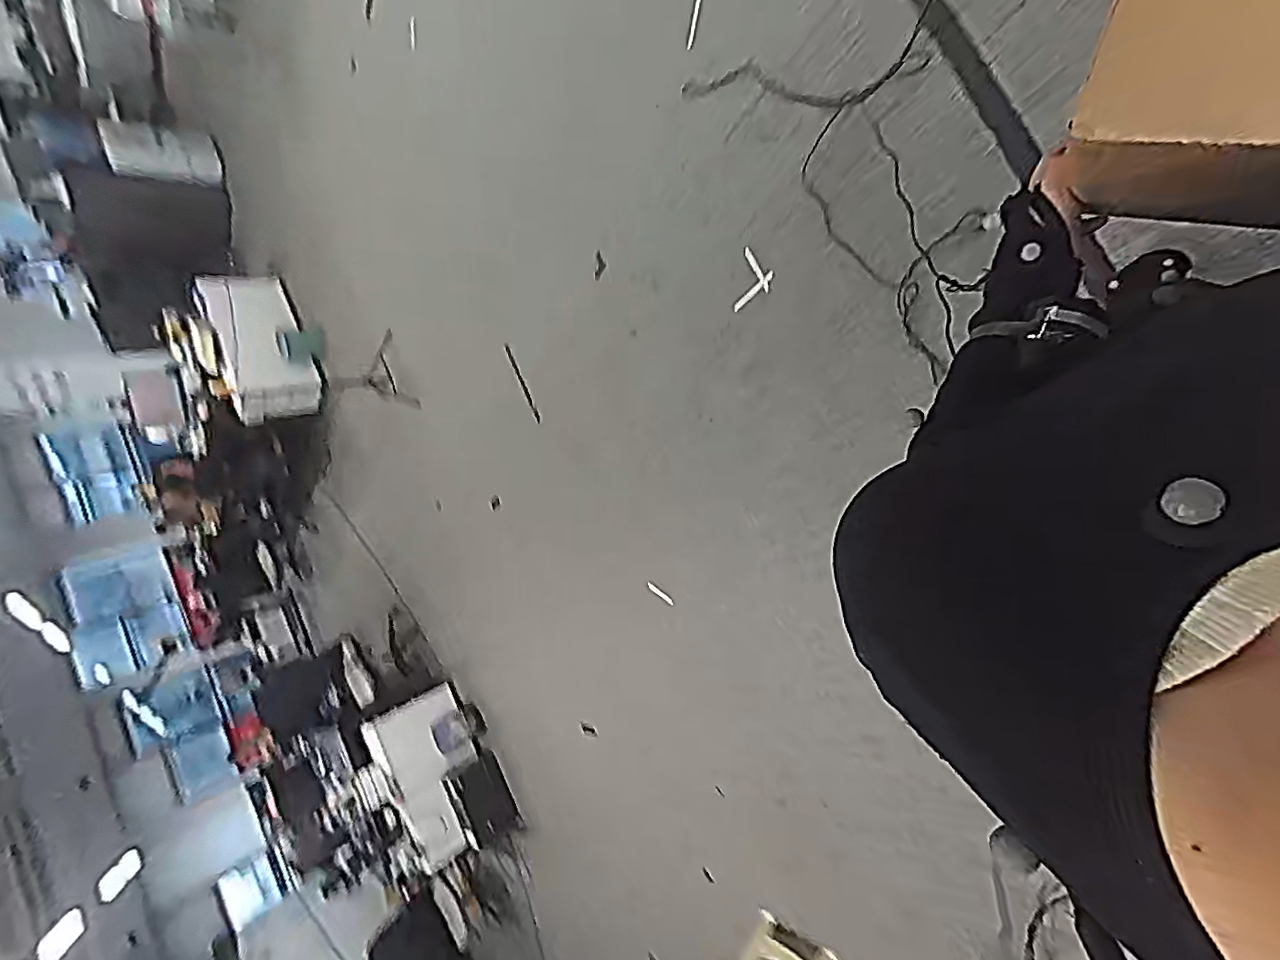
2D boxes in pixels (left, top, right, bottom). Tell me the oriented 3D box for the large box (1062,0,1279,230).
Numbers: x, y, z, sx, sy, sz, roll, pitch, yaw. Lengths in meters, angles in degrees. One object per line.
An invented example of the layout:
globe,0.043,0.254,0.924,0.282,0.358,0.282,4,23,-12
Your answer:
large box,0.461,-0.275,0.212,0.408,0.320,0.320,22,118,31
